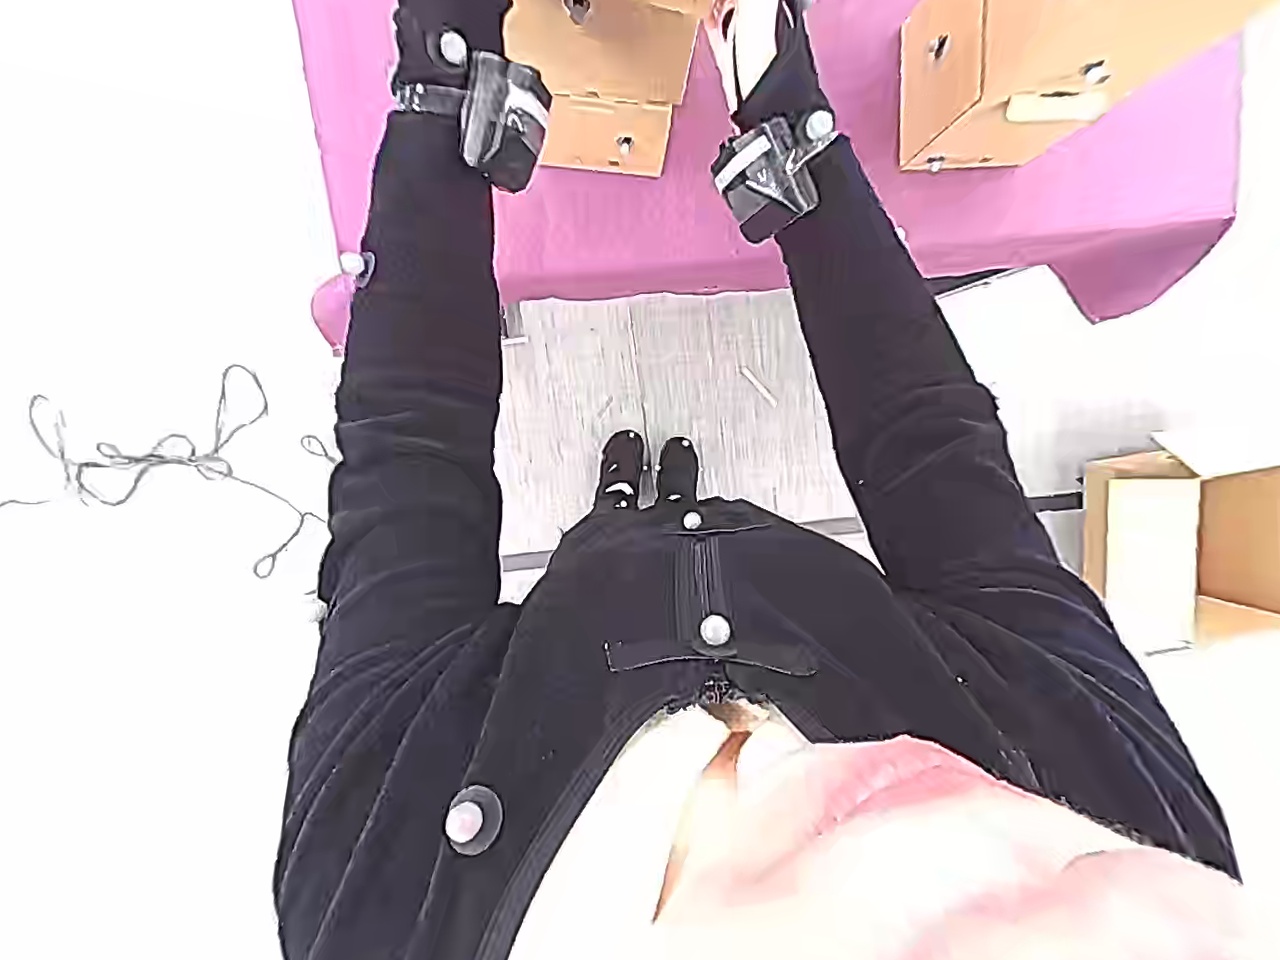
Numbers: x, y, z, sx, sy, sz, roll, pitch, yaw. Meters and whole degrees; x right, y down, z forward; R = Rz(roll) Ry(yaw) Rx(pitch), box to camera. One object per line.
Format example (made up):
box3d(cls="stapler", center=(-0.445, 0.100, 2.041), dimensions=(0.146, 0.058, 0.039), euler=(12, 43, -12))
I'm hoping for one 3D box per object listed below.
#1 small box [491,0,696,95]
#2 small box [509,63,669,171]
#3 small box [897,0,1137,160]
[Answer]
box3d(cls="small box", center=(-0.033, -0.459, 0.450), dimensions=(0.179, 0.176, 0.168), euler=(6, 98, -4))
box3d(cls="small box", center=(-0.046, -0.479, 0.612), dimensions=(0.168, 0.176, 0.179), euler=(5, 97, -4))
box3d(cls="small box", center=(0.418, -0.493, 0.626), dimensions=(0.168, 0.176, 0.179), euler=(-3, 97, -2))
